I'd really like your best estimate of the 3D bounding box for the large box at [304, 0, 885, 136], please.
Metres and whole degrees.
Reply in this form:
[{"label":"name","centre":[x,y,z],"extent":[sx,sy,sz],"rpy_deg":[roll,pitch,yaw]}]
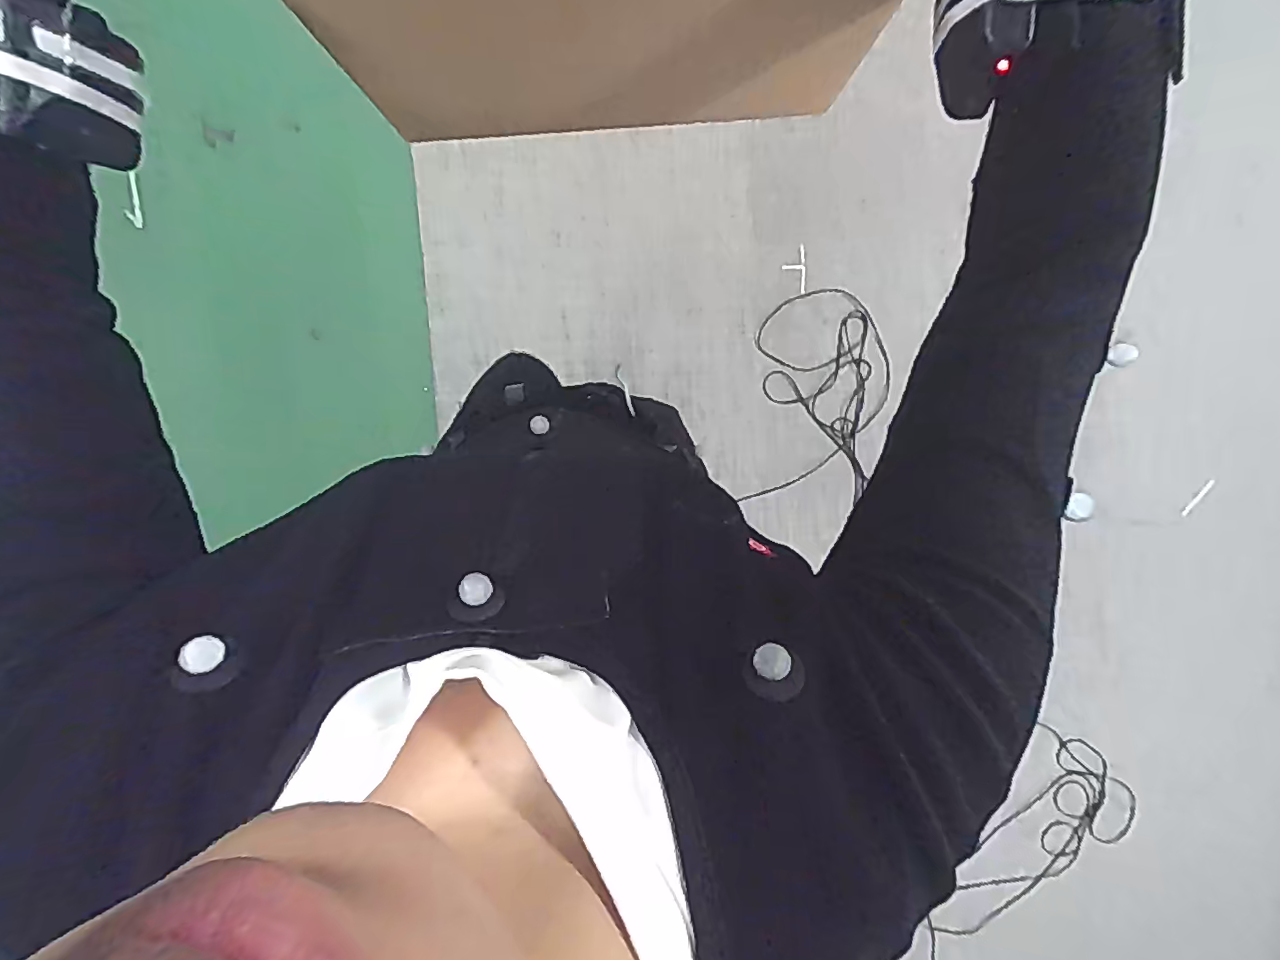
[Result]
[{"label":"large box","centre":[-0.031,-0.469,0.345],"extent":[0.408,0.320,0.320],"rpy_deg":[-5,99,-1]}]
